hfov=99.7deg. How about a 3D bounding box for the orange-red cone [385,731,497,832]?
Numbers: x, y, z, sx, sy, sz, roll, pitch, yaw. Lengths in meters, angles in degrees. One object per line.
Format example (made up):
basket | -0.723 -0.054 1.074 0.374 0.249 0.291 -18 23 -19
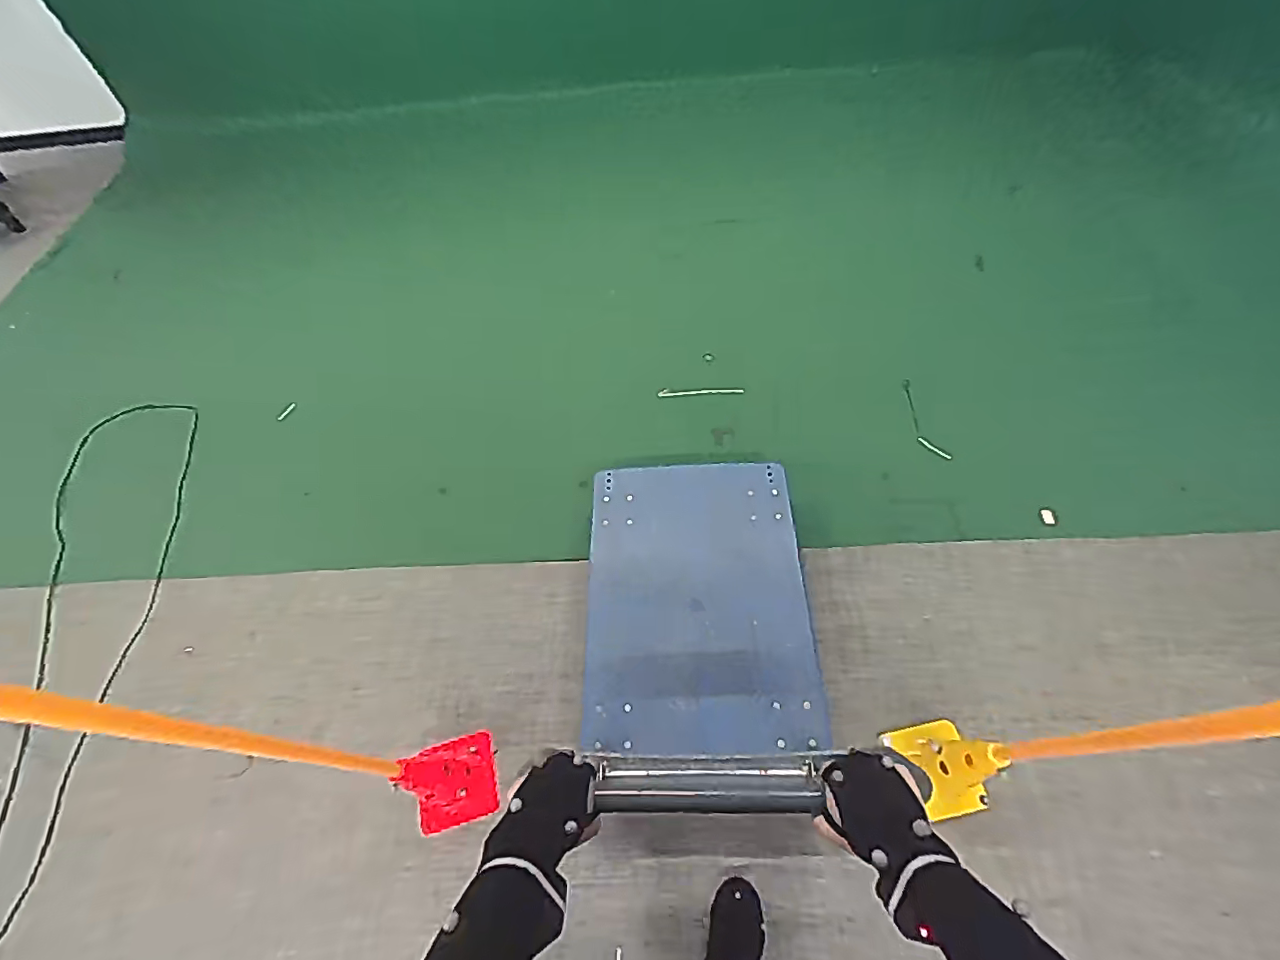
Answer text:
orange-red cone | -0.483 0.676 1.235 0.199 0.360 0.198 -16 58 -4
